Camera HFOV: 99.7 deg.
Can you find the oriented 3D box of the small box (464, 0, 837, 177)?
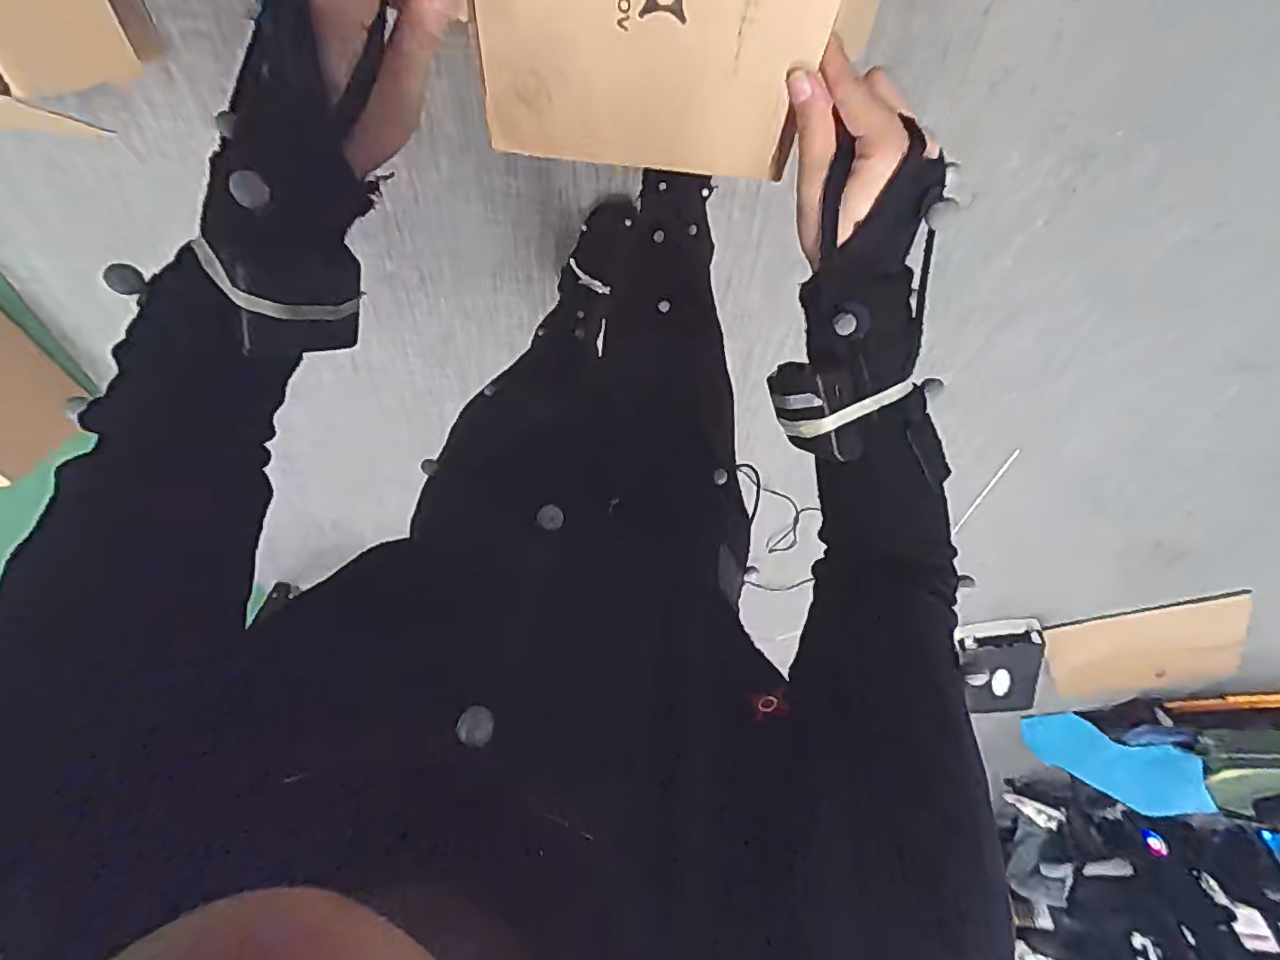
[{"bbox_3d":[0.004,-0.296,0.286,0.179,0.176,0.168,1,150,-8],"label":"small box"}]
